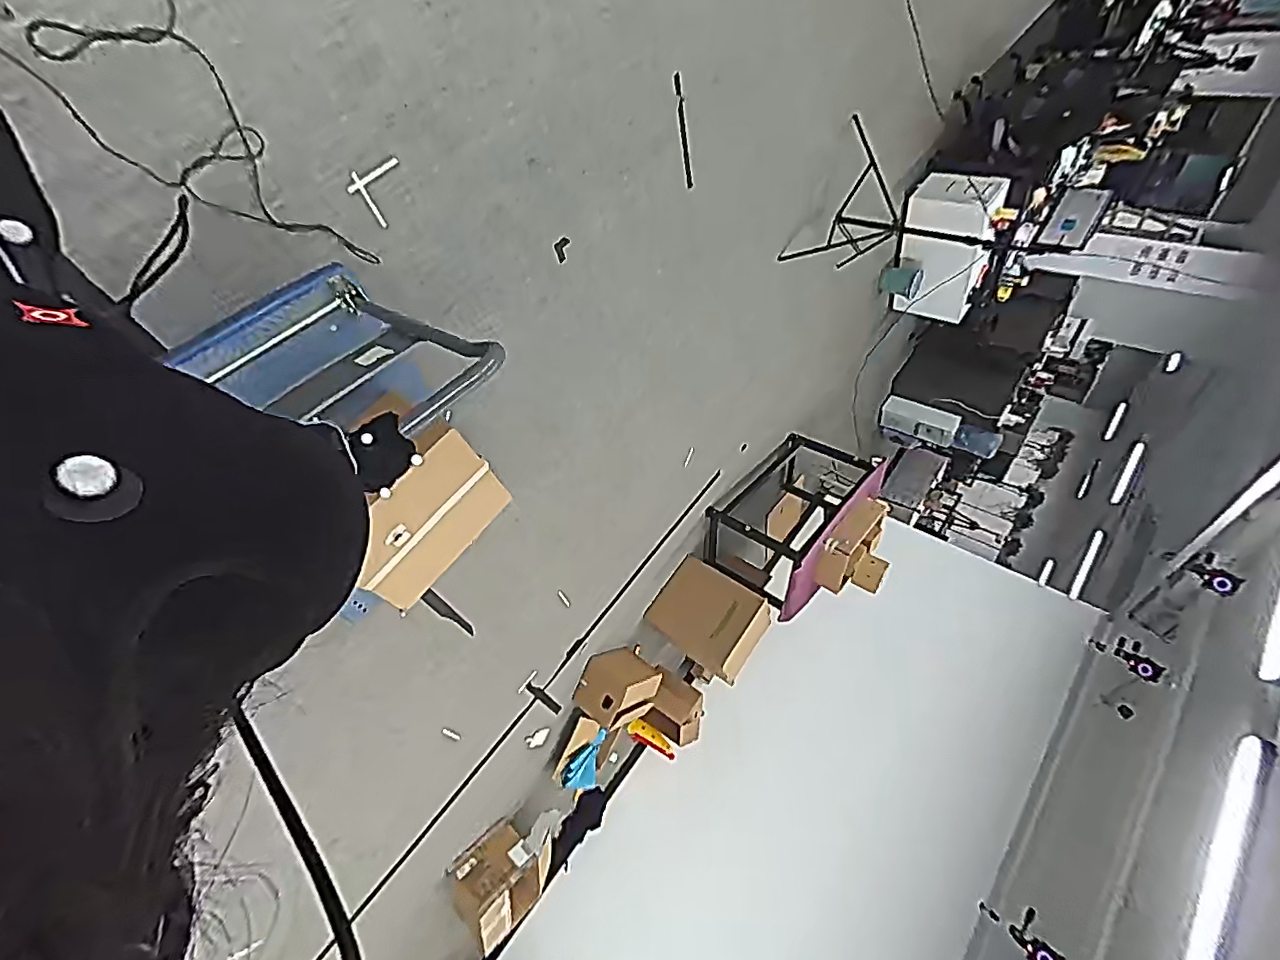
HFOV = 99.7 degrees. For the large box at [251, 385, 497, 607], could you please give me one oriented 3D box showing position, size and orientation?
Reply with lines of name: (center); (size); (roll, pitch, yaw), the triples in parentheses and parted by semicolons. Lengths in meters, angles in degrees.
large box: (-0.657, 0.034, 1.378); (0.408, 0.320, 0.320); (-49, 145, -18)
